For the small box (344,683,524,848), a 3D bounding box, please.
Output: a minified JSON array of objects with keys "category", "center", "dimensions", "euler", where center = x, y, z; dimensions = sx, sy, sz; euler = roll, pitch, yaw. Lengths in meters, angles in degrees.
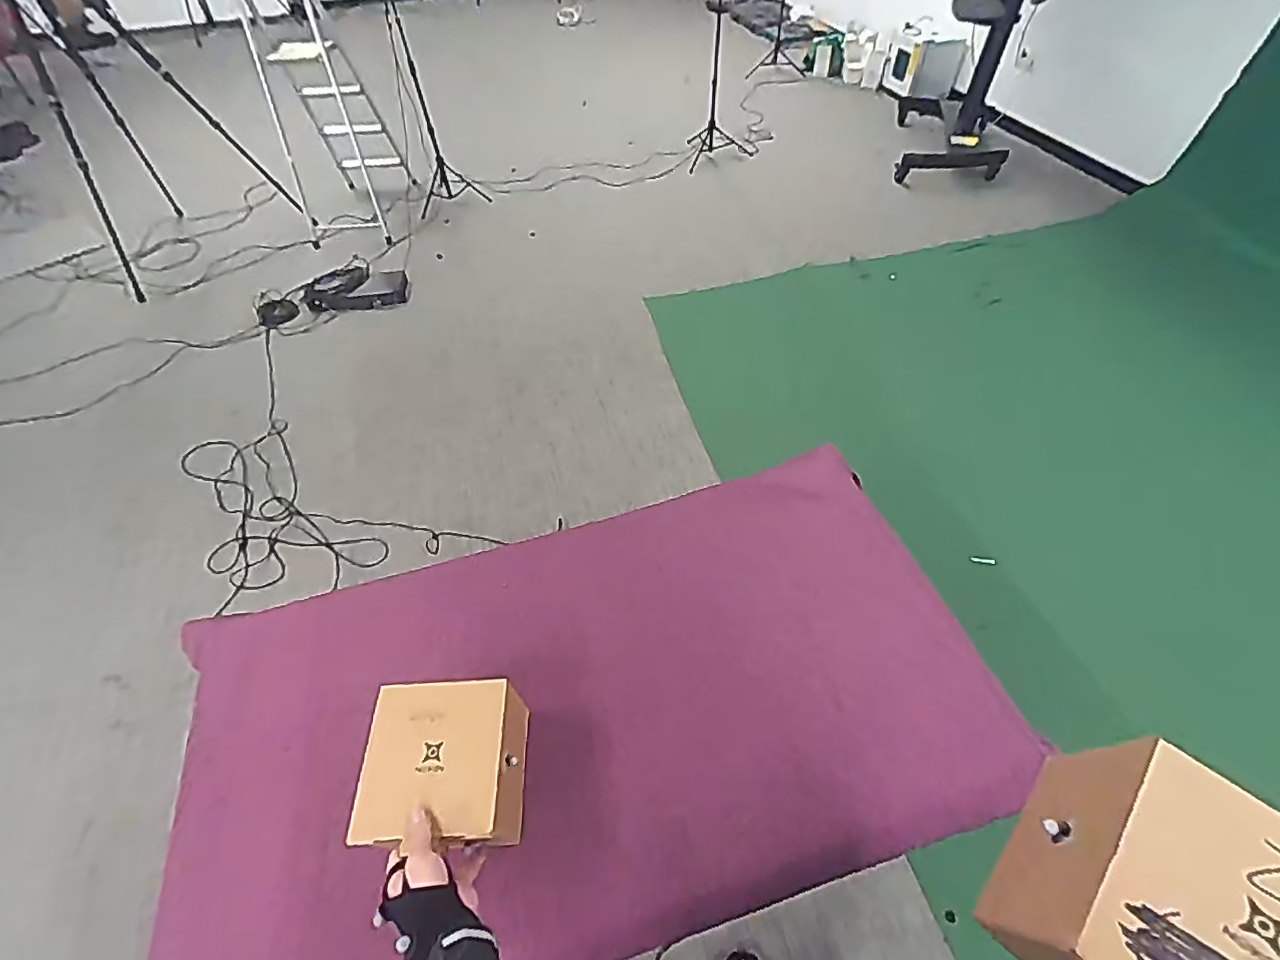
[{"category":"small box","center":[-0.255,0.383,0.719],"dimensions":[0.168,0.176,0.179],"euler":[-1,54,-2]}]
